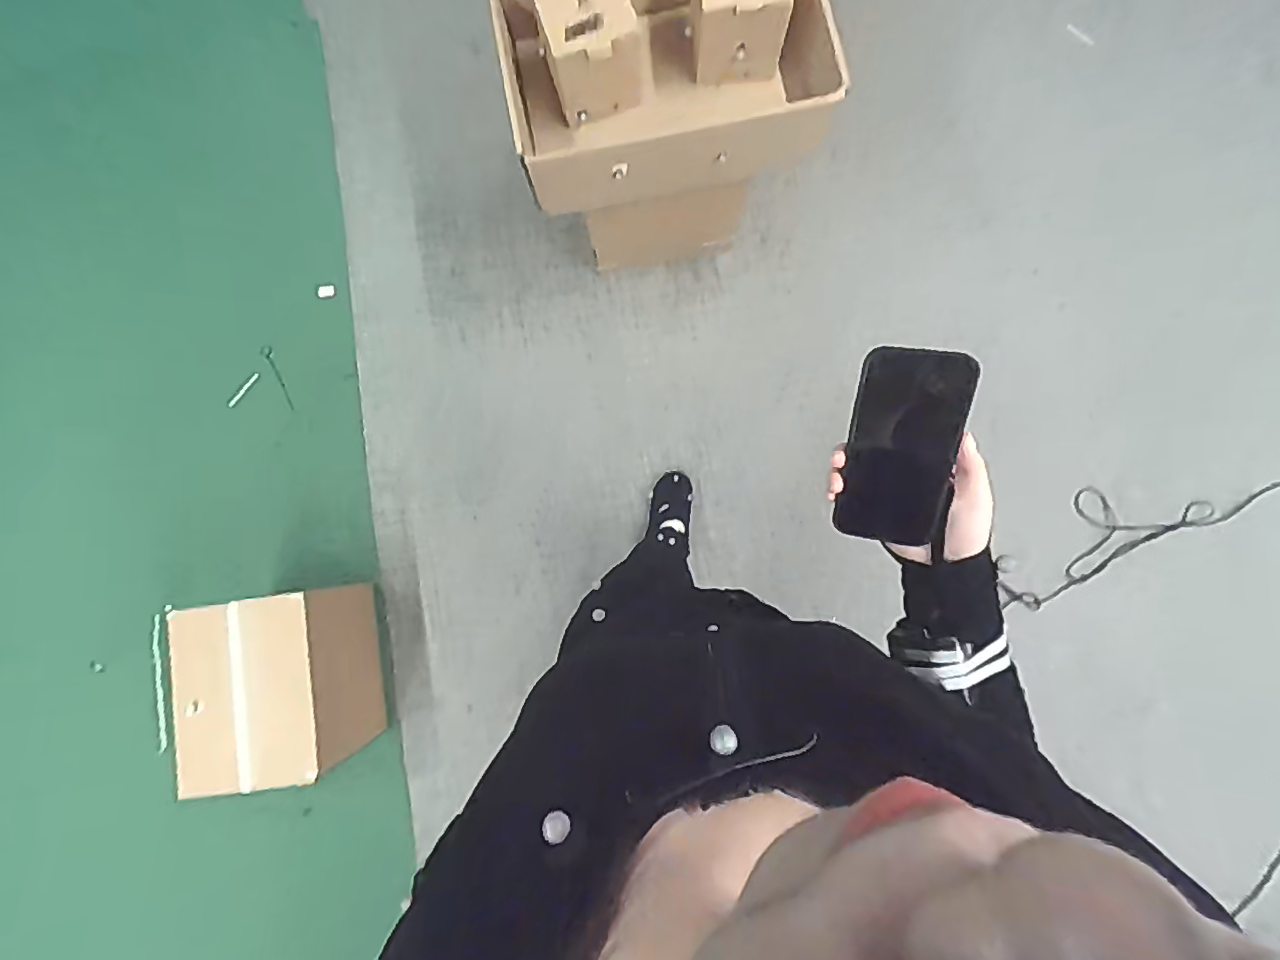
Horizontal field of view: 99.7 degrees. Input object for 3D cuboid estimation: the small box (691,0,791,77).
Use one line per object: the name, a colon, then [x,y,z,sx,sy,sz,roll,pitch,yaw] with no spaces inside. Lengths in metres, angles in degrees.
small box: [0.190,-0.922,1.048,0.168,0.176,0.179,-4,85,2]
